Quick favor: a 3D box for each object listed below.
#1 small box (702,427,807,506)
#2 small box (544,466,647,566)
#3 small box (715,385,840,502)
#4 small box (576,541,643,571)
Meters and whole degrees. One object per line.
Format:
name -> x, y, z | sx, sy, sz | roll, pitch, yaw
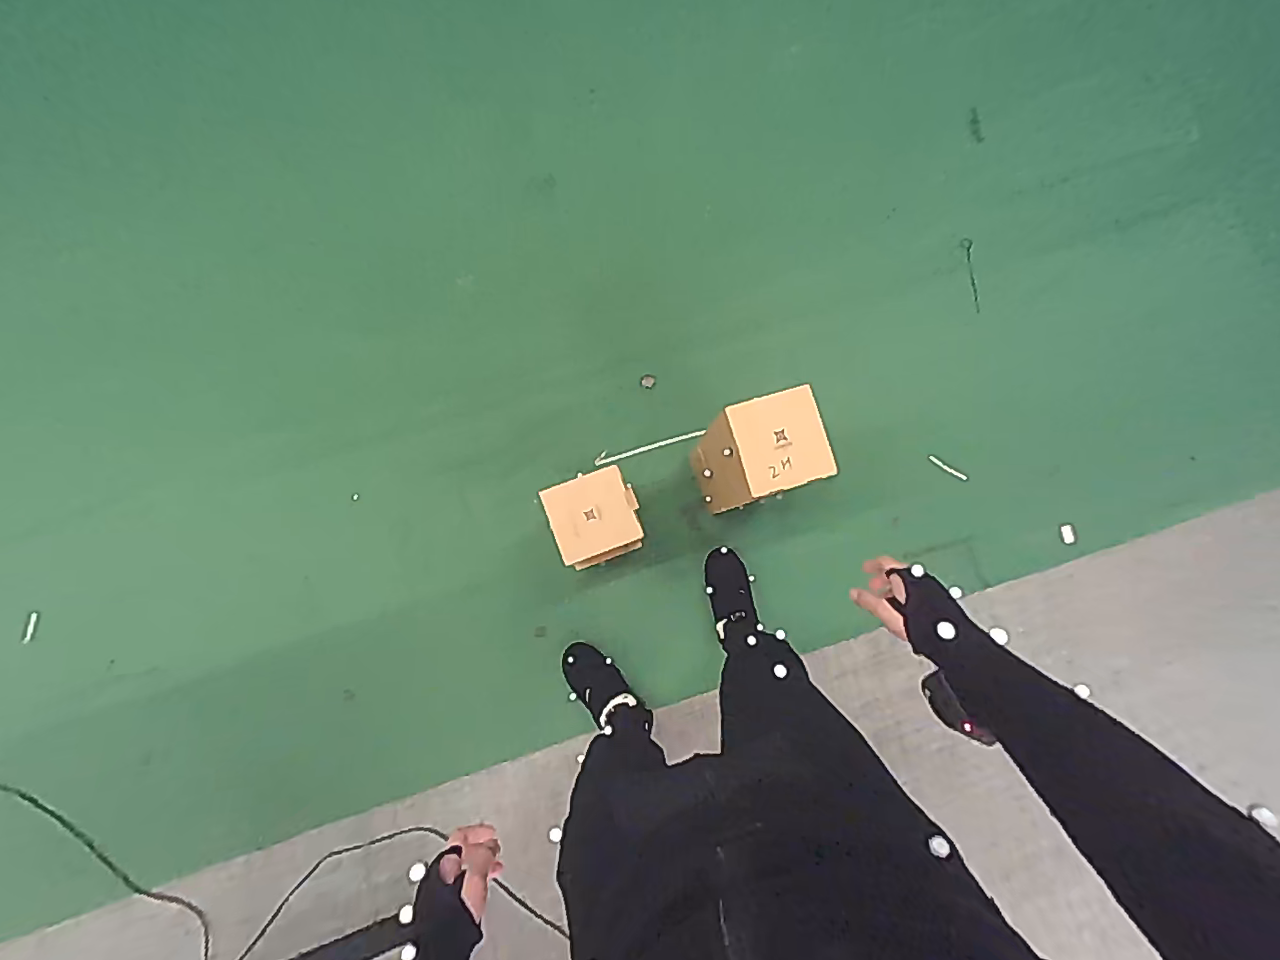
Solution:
small box -> 0.251, -0.045, 1.212 | 0.168, 0.176, 0.179 | -17, 86, -5
small box -> -0.095, 0.080, 1.188 | 0.179, 0.176, 0.168 | -20, 84, -3
small box -> 0.255, -0.063, 1.048 | 0.168, 0.176, 0.179 | -16, 86, -4
small box -> -0.097, 0.113, 1.348 | 0.168, 0.176, 0.179 | -20, 84, -4
